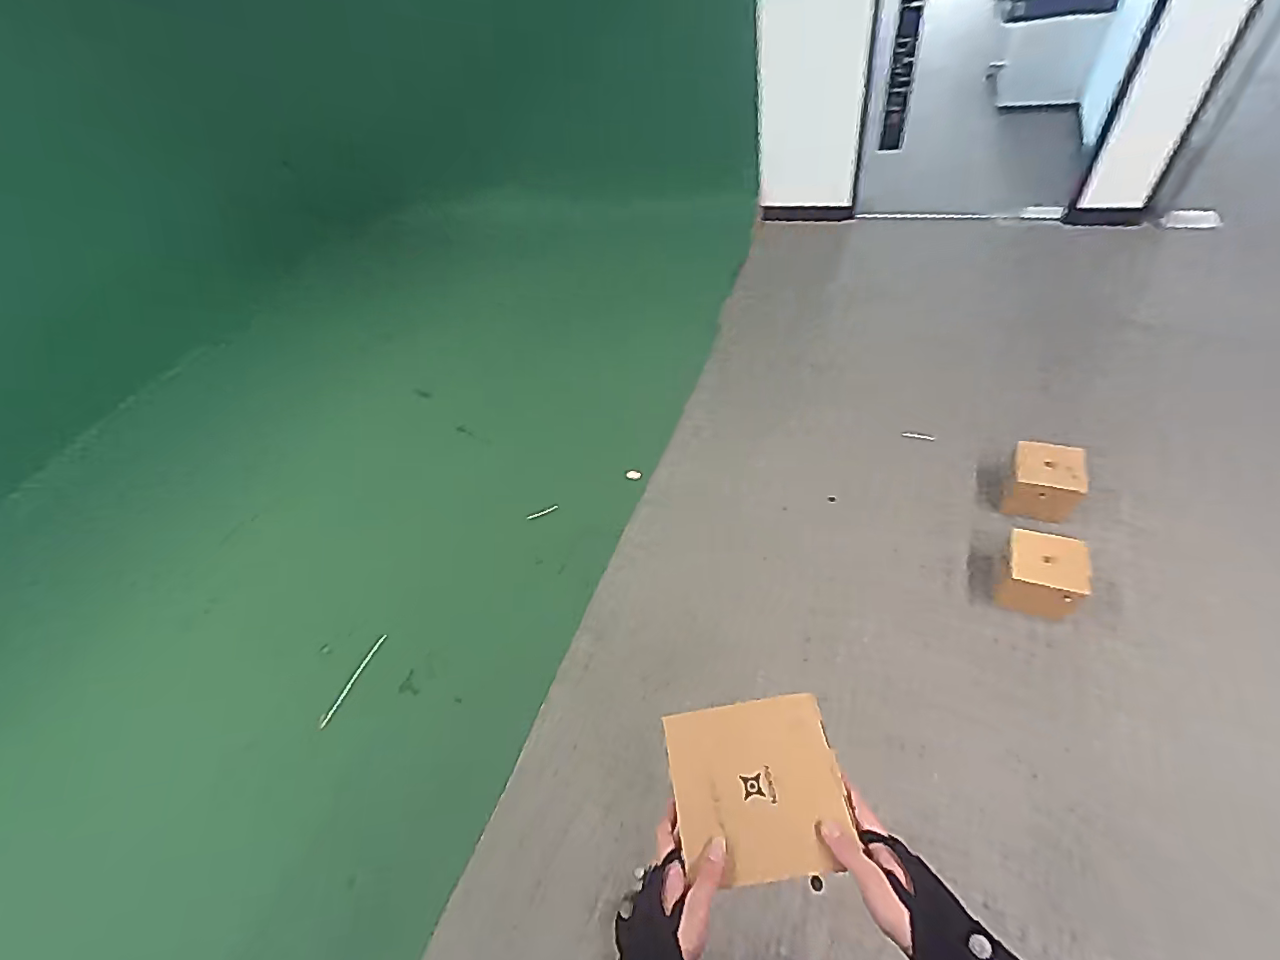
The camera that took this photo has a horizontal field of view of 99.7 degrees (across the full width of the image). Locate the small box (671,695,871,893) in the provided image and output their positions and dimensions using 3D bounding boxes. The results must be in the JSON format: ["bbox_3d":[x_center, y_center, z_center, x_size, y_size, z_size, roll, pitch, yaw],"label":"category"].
[{"bbox_3d":[0.137,0.361,0.622,0.179,0.176,0.168,-9,53,4],"label":"small box"}]

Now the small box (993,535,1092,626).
[{"bbox_3d":[1.093,0.278,1.483,0.179,0.176,0.168,12,56,20],"label":"small box"}]

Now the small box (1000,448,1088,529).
[{"bbox_3d":[1.221,0.028,1.647,0.179,0.176,0.168,12,56,21],"label":"small box"}]
